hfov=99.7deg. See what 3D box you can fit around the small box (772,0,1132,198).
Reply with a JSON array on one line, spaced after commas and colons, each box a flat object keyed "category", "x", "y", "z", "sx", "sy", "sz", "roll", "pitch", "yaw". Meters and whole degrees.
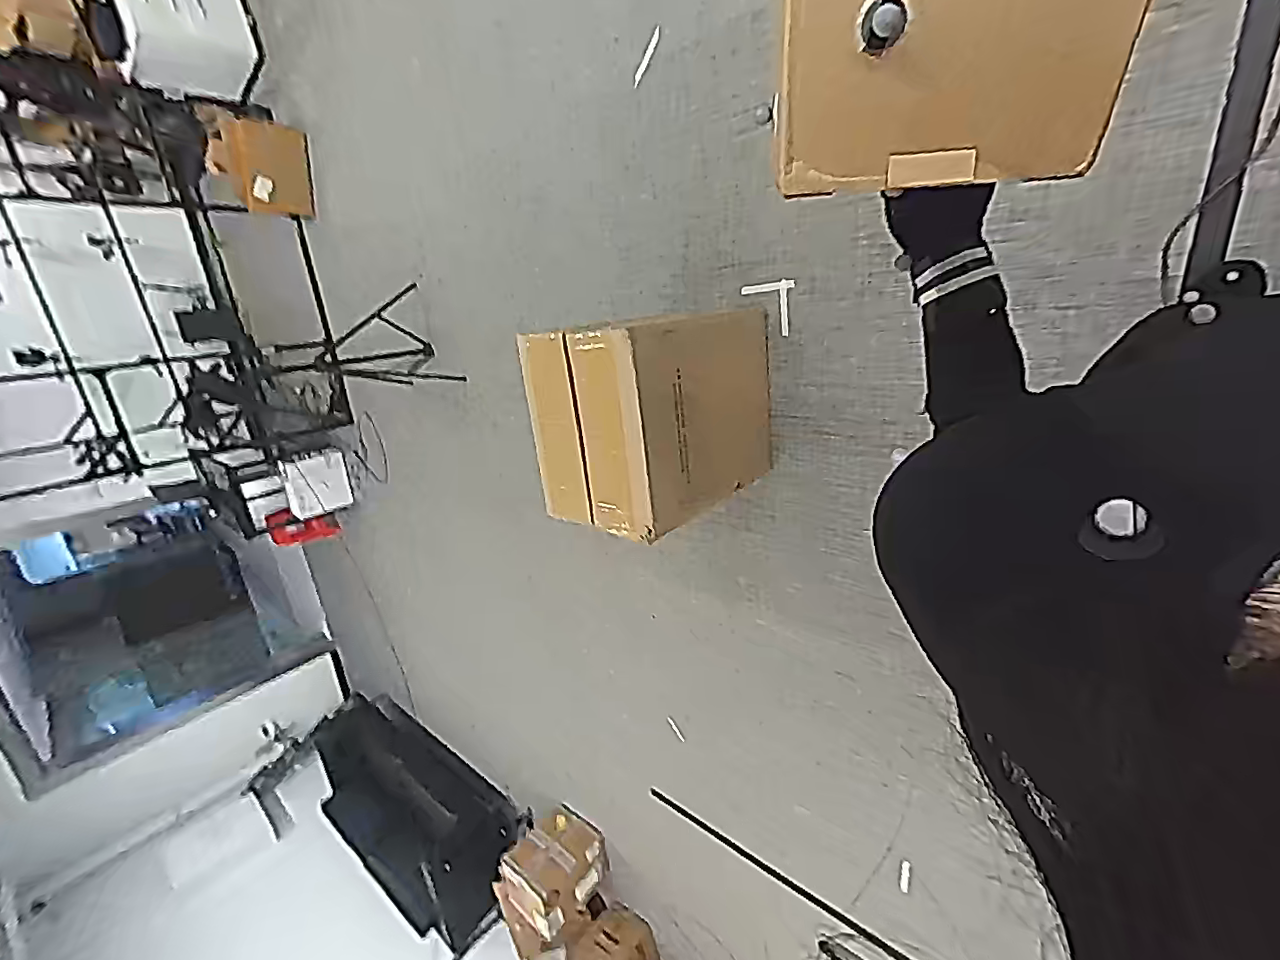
[{"category": "small box", "x": 0.168, "y": -0.286, "z": 0.331, "sx": 0.168, "sy": 0.179, "sz": 0.176, "roll": 1, "pitch": 125, "yaw": 12}]
